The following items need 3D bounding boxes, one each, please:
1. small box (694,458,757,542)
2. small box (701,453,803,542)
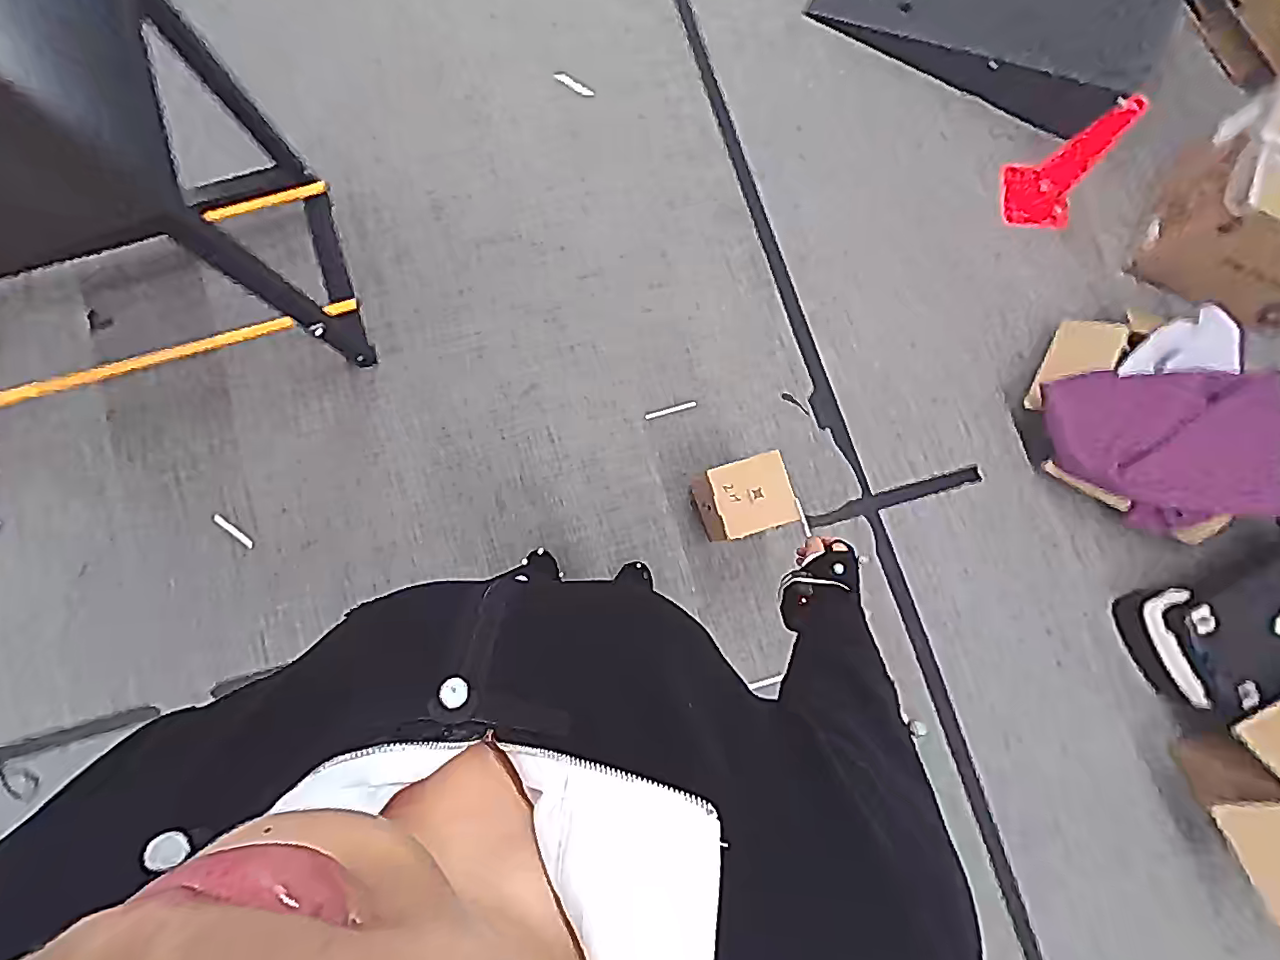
[{"bbox_3d":[0.252,0.061,1.445,0.168,0.176,0.179,-20,84,-3],"label":"small box"},{"bbox_3d":[0.257,0.045,1.281,0.179,0.176,0.168,-16,83,-3],"label":"small box"}]
